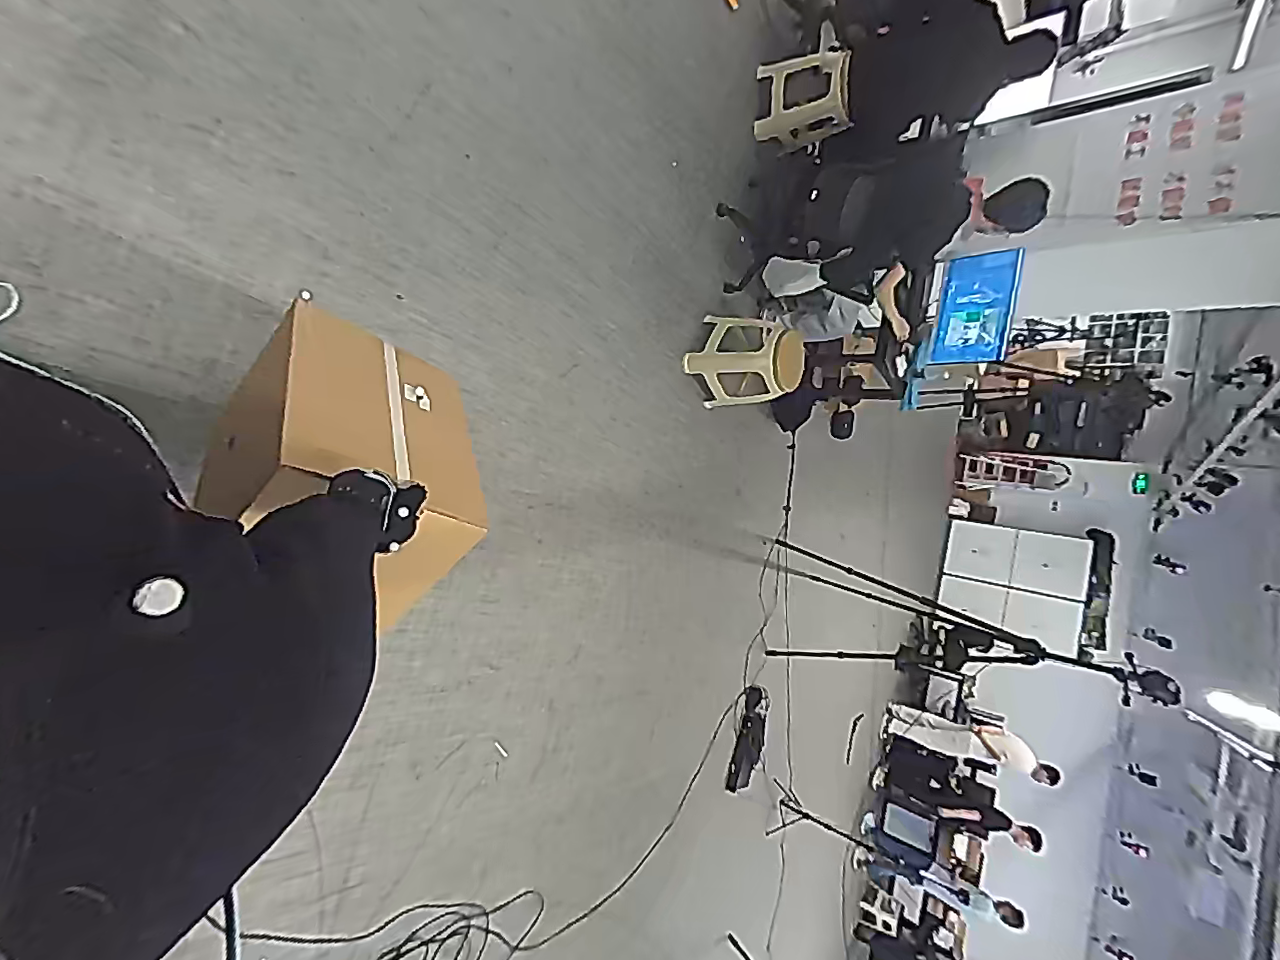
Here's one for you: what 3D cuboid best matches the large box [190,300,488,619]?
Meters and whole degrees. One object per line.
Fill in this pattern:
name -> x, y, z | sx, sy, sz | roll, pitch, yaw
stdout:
large box -> -0.514, -0.020, 0.941 | 0.320, 0.408, 0.320 | -41, 140, 19
